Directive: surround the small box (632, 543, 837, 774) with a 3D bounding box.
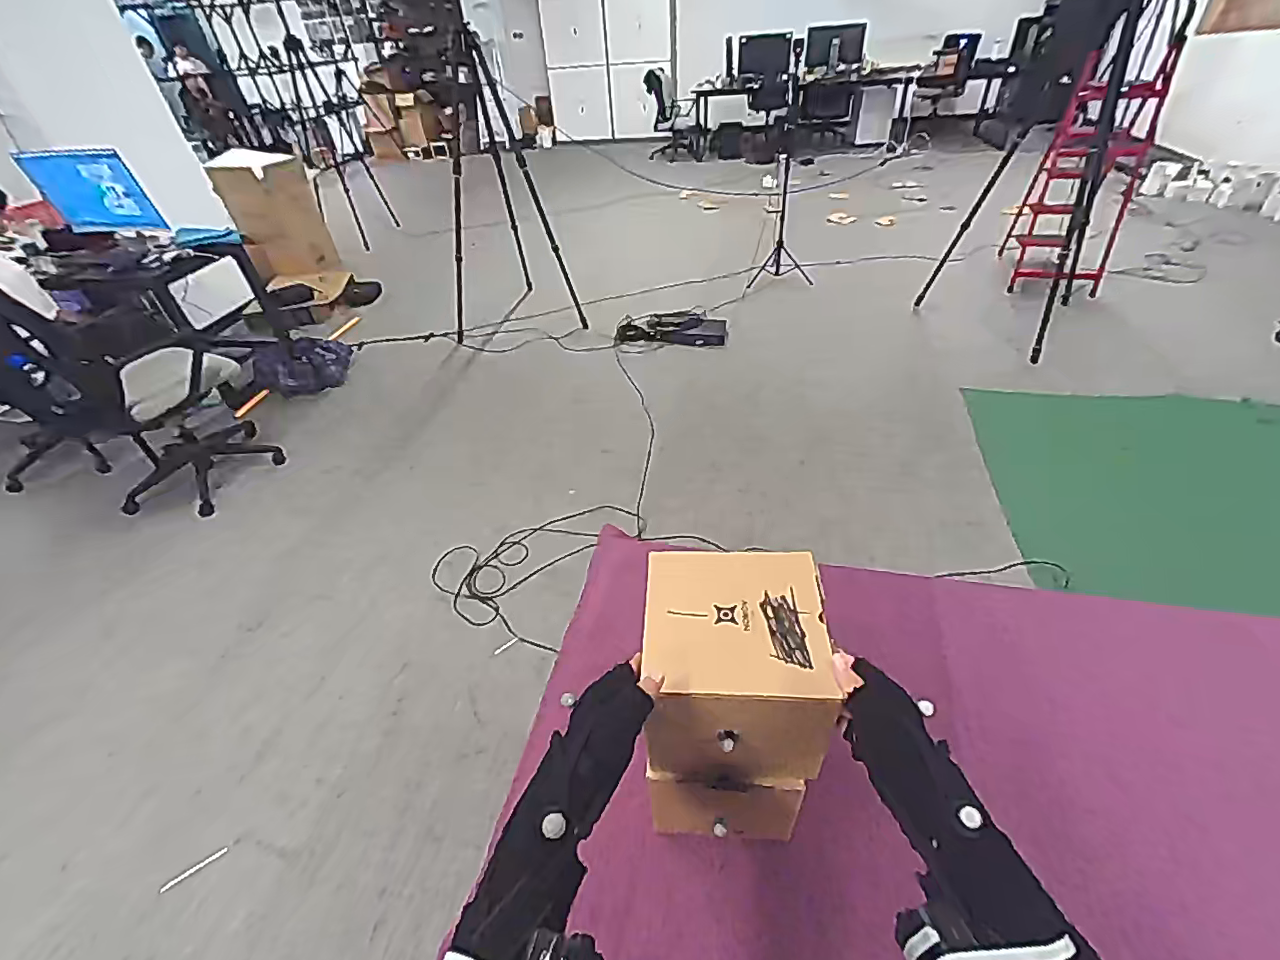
[{"bbox_3d":[0.094,0.187,0.570,0.179,0.176,0.168,2,39,8],"label":"small box"}]

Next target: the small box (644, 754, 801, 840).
[{"bbox_3d":[0.099,0.316,0.675,0.168,0.176,0.179,0,41,7],"label":"small box"}]
